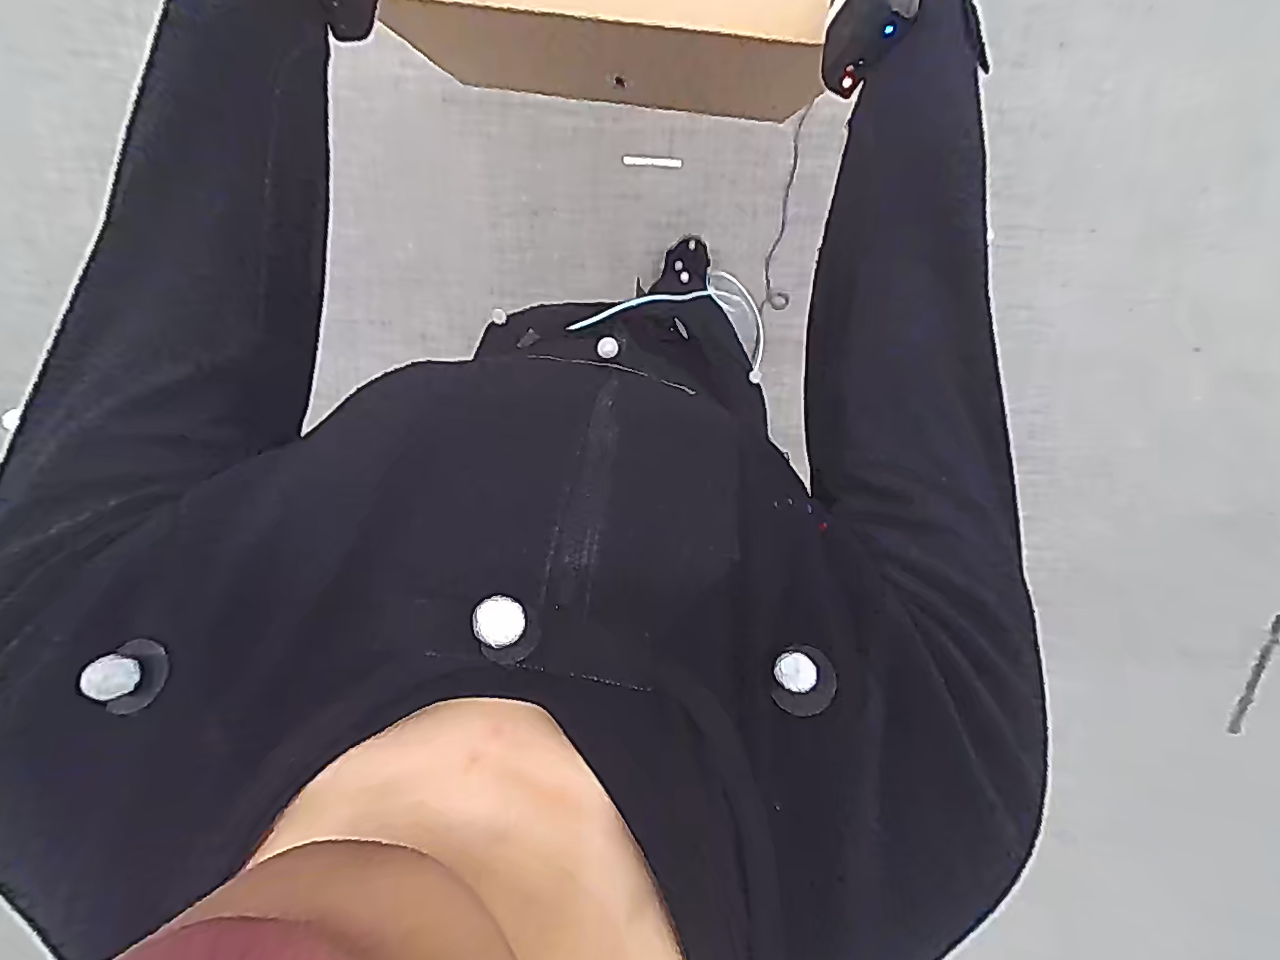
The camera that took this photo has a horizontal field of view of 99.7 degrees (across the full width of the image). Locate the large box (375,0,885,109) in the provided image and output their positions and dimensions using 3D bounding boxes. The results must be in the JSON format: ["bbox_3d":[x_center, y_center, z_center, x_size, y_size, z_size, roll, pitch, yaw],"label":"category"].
[{"bbox_3d":[0.000,-0.551,0.477,0.408,0.320,0.320,5,114,-1],"label":"large box"}]
